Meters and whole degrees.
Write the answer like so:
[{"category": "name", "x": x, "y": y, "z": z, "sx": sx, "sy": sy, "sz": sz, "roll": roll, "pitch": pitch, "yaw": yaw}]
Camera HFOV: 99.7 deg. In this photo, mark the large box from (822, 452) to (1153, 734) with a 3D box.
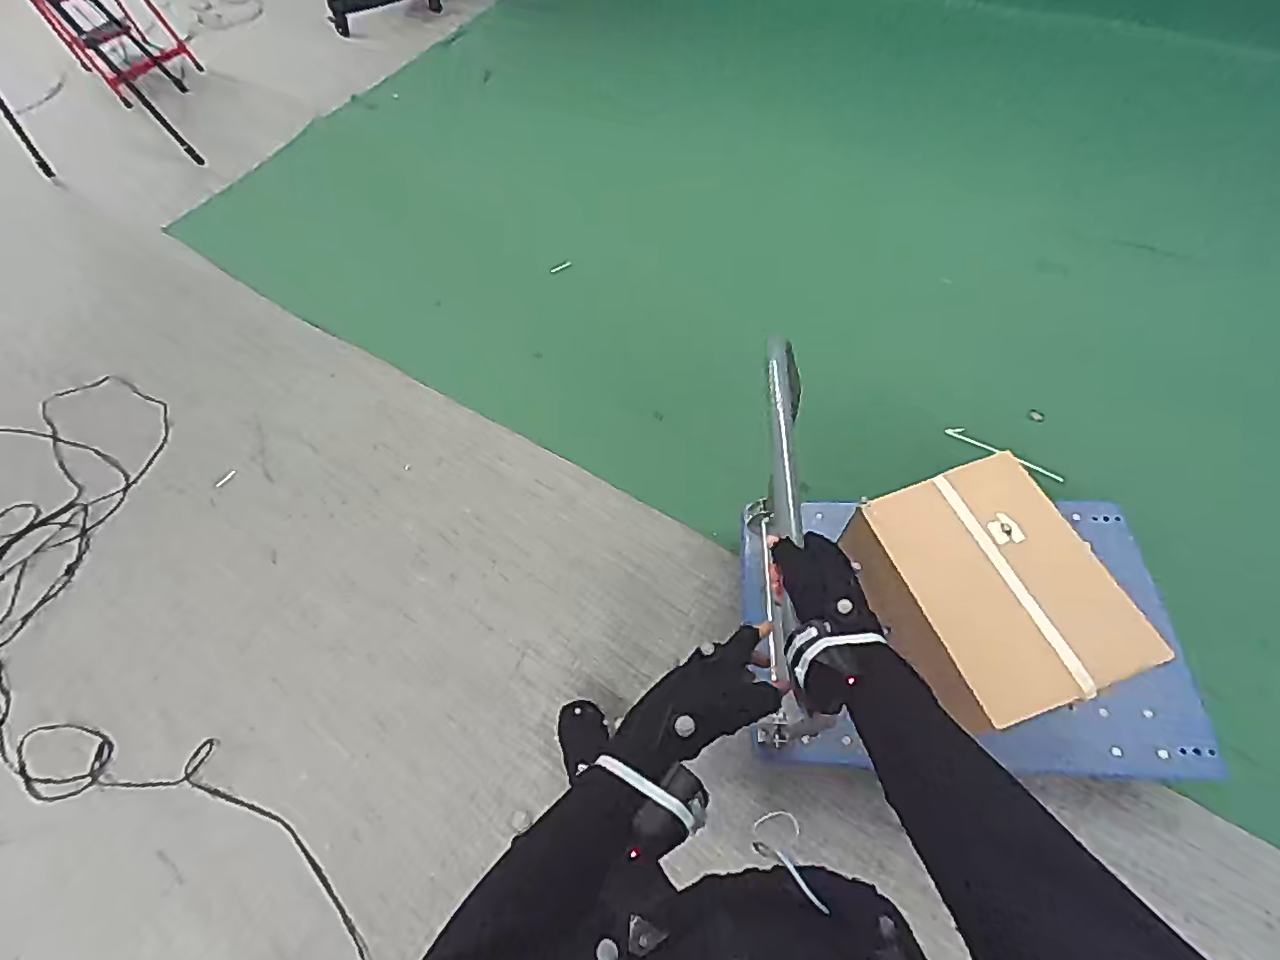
[{"category": "large box", "x": 0.613, "y": 0.227, "z": 1.056, "sx": 0.320, "sy": 0.320, "sz": 0.408, "roll": -20, "pitch": 60, "yaw": -4}]
